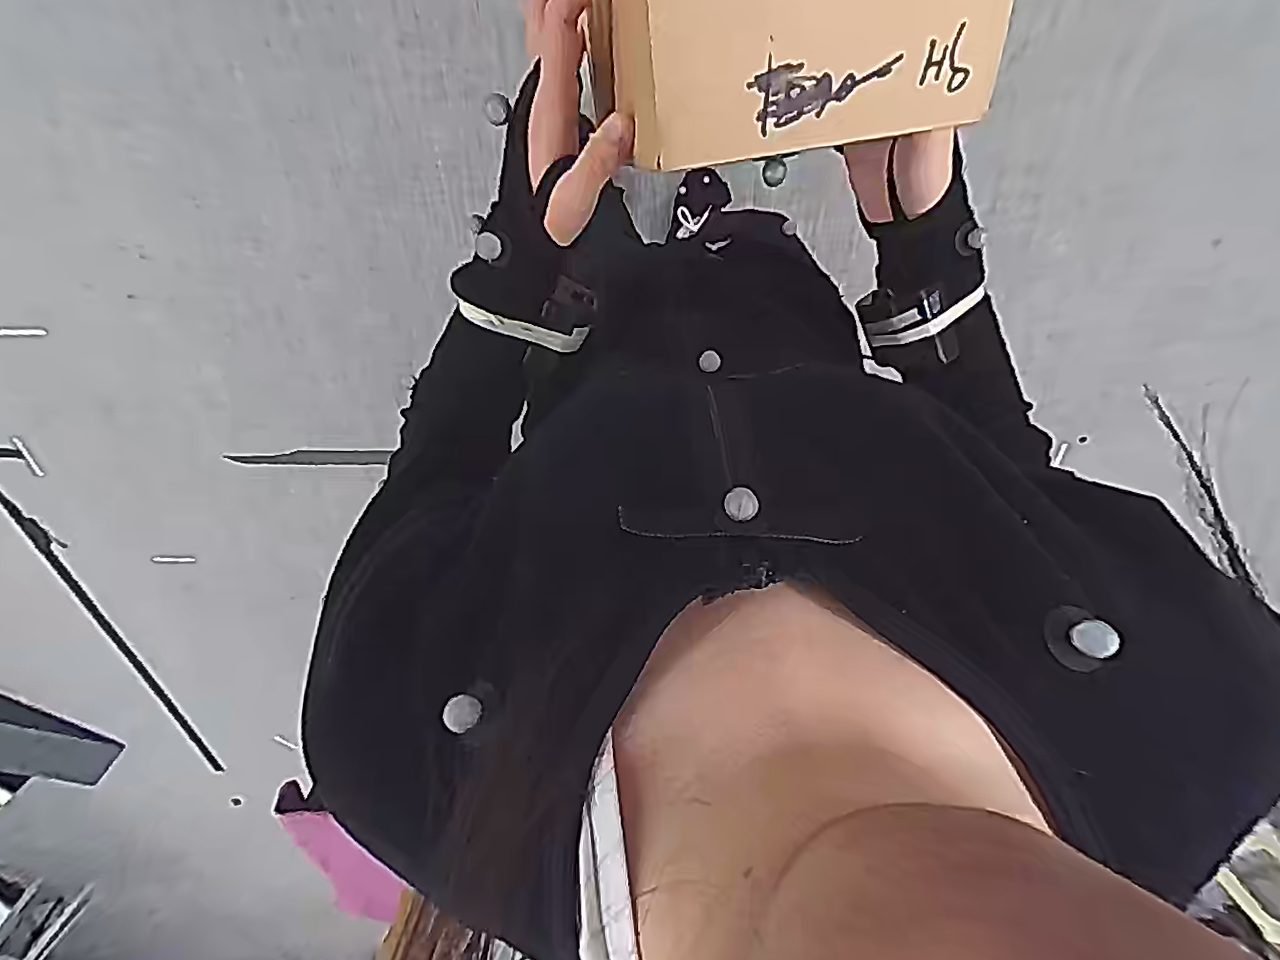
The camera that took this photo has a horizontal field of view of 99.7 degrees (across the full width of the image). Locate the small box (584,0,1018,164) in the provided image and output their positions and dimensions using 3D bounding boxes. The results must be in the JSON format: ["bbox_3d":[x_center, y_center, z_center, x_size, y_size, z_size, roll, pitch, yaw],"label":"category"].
[{"bbox_3d":[0.060,-0.267,0.266,0.168,0.176,0.179,-12,123,-5],"label":"small box"}]

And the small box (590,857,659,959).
[{"bbox_3d":[-0.037,1.121,1.409,0.168,0.176,0.179,1,122,1],"label":"small box"}]

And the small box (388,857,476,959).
[{"bbox_3d":[-0.543,1.141,1.441,0.168,0.176,0.179,4,122,-2],"label":"small box"}]
